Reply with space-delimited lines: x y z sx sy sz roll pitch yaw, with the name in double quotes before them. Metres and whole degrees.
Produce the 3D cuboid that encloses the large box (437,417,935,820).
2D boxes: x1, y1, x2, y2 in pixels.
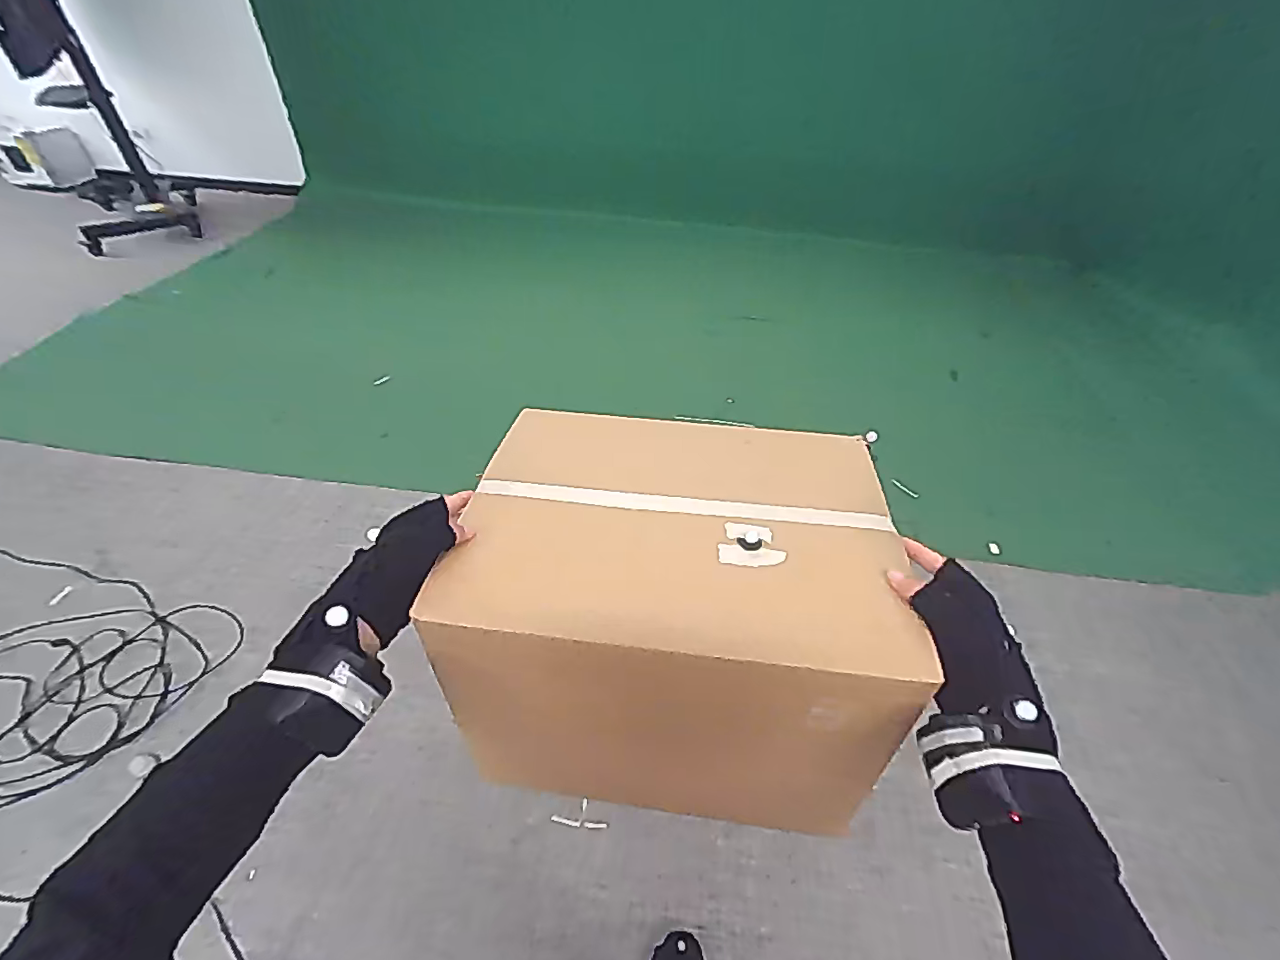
"large box" 0.040 0.149 0.630 0.408 0.320 0.320 6 40 4
